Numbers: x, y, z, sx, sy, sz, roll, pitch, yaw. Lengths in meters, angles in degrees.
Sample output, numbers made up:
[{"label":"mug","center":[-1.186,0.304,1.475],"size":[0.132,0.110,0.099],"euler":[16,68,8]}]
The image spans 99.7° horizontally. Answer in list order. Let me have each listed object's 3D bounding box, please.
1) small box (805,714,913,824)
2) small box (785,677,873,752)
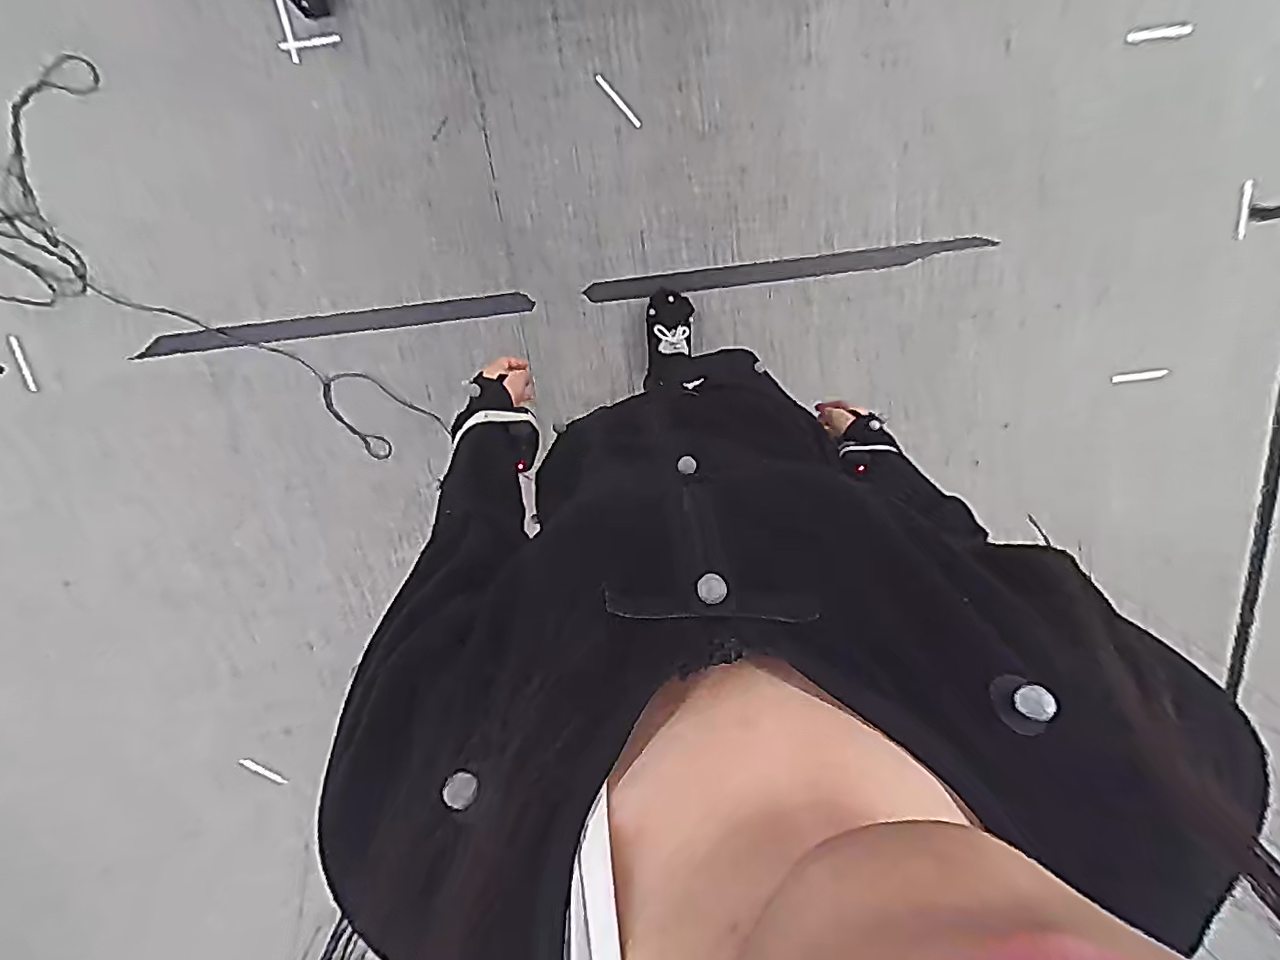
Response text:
[{"label":"small box","center":[0.577,0.765,1.450],"size":[0.179,0.176,0.168],"euler":[33,103,-11]},{"label":"small box","center":[0.566,0.724,1.607],"size":[0.179,0.176,0.168],"euler":[37,101,-11]}]
